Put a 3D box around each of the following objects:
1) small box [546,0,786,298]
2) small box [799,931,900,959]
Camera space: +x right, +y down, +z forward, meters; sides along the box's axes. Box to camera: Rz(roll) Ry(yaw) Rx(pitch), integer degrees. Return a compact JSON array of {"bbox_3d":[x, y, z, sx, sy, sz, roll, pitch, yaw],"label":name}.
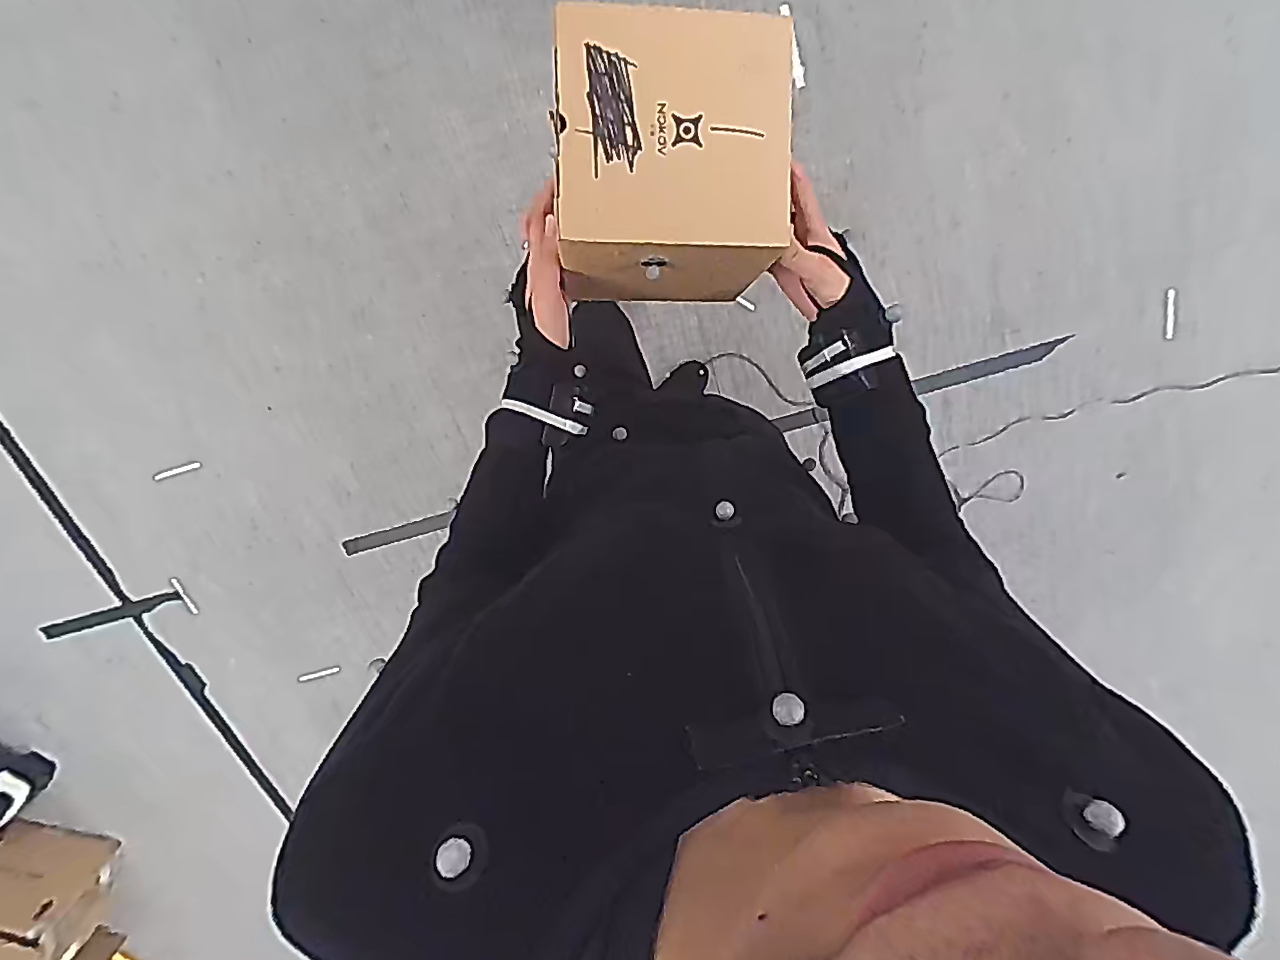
[{"bbox_3d":[0.015,-0.264,0.473,0.179,0.176,0.168,-1,94,-5],"label":"small box"},{"bbox_3d":[0.407,0.962,0.975,0.179,0.176,0.168,-15,109,4],"label":"small box"}]
